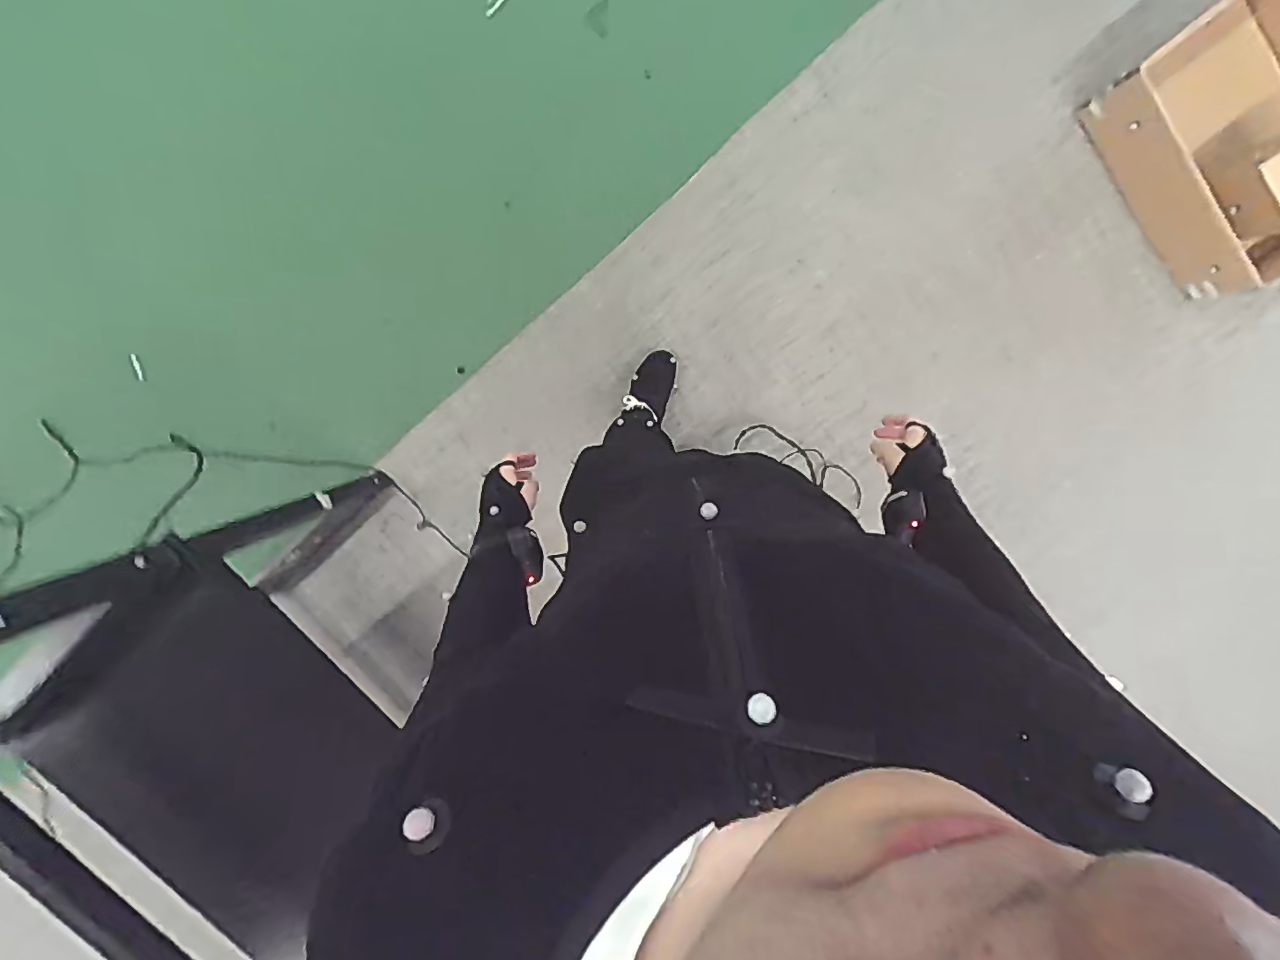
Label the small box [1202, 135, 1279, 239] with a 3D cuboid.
[{"bbox_3d":[1.509,-0.707,1.282,0.179,0.176,0.168,-36,97,9],"label":"small box"}]
